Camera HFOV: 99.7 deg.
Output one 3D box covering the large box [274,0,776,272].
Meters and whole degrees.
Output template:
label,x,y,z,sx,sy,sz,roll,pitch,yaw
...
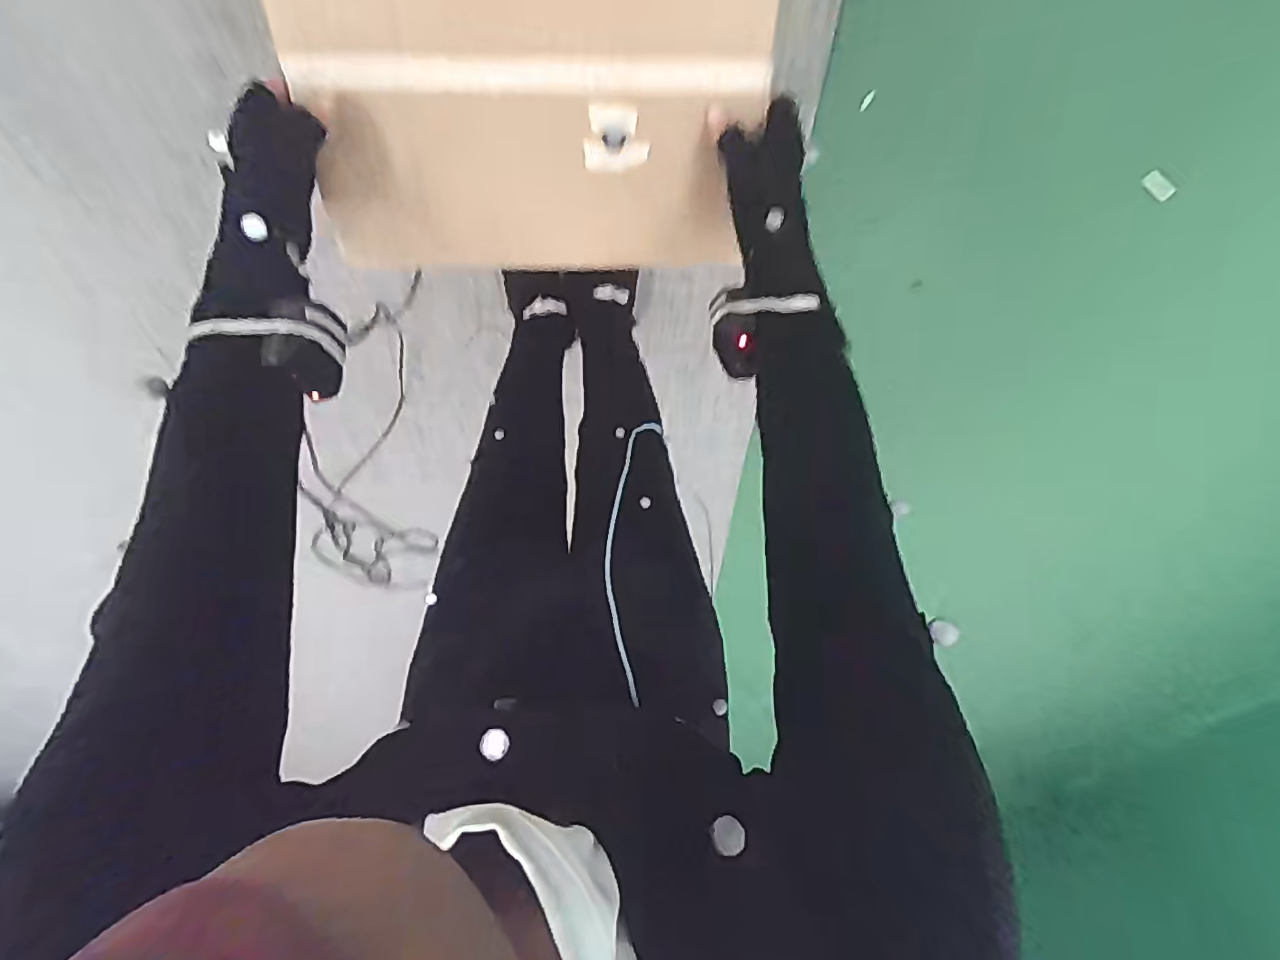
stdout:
label,x,y,z,sx,sy,sz,roll,pitch,yaw
large box,-0.100,-0.424,0.579,0.408,0.320,0.320,-2,126,-4
